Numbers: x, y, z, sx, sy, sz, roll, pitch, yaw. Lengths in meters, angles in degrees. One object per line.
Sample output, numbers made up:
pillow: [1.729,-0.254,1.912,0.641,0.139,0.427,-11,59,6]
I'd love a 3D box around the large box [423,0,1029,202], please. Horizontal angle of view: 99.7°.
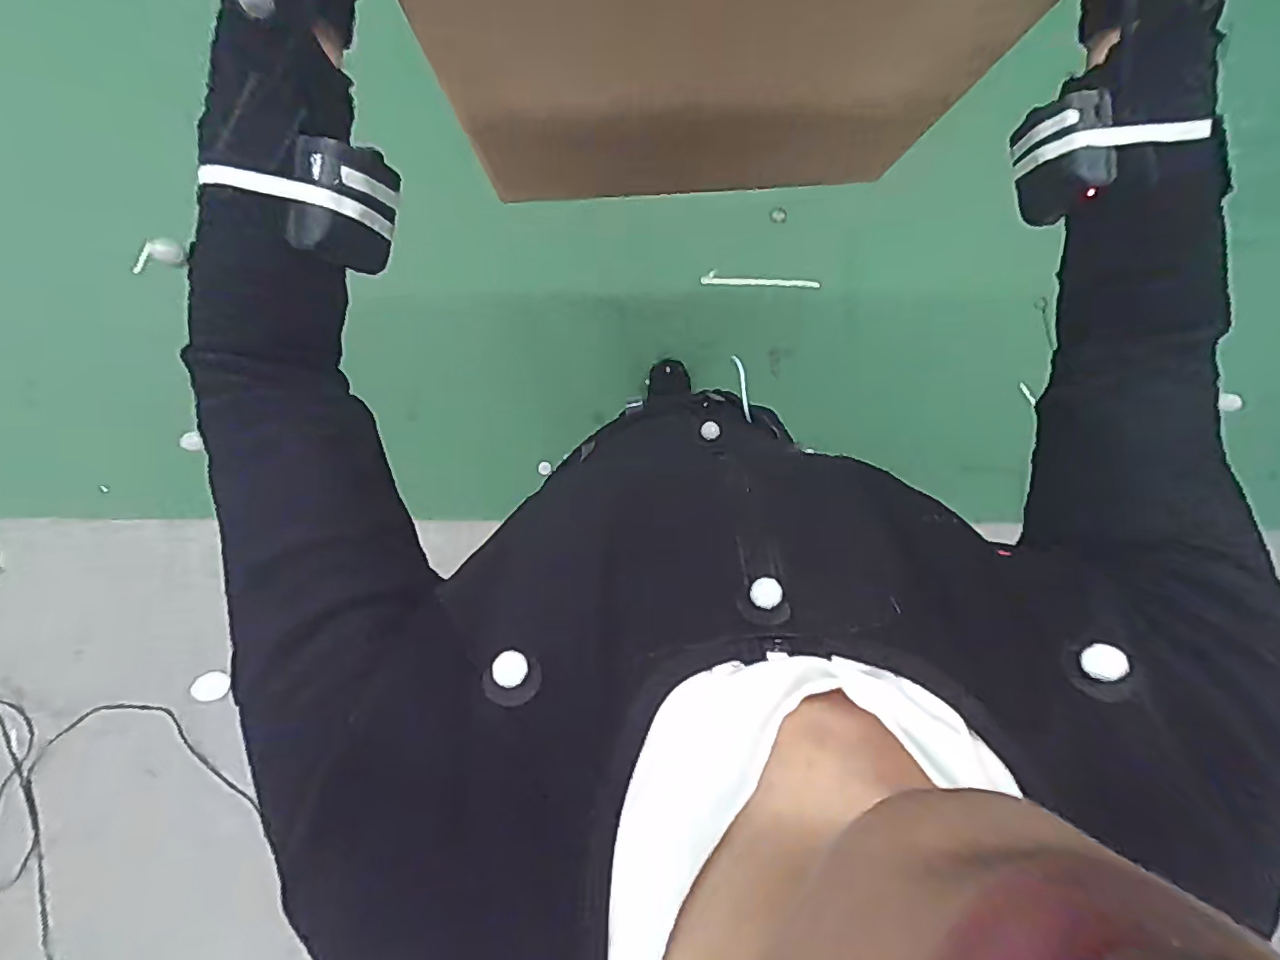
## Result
large box: [0.047,-0.450,0.418,0.408,0.320,0.320,-5,95,-3]
